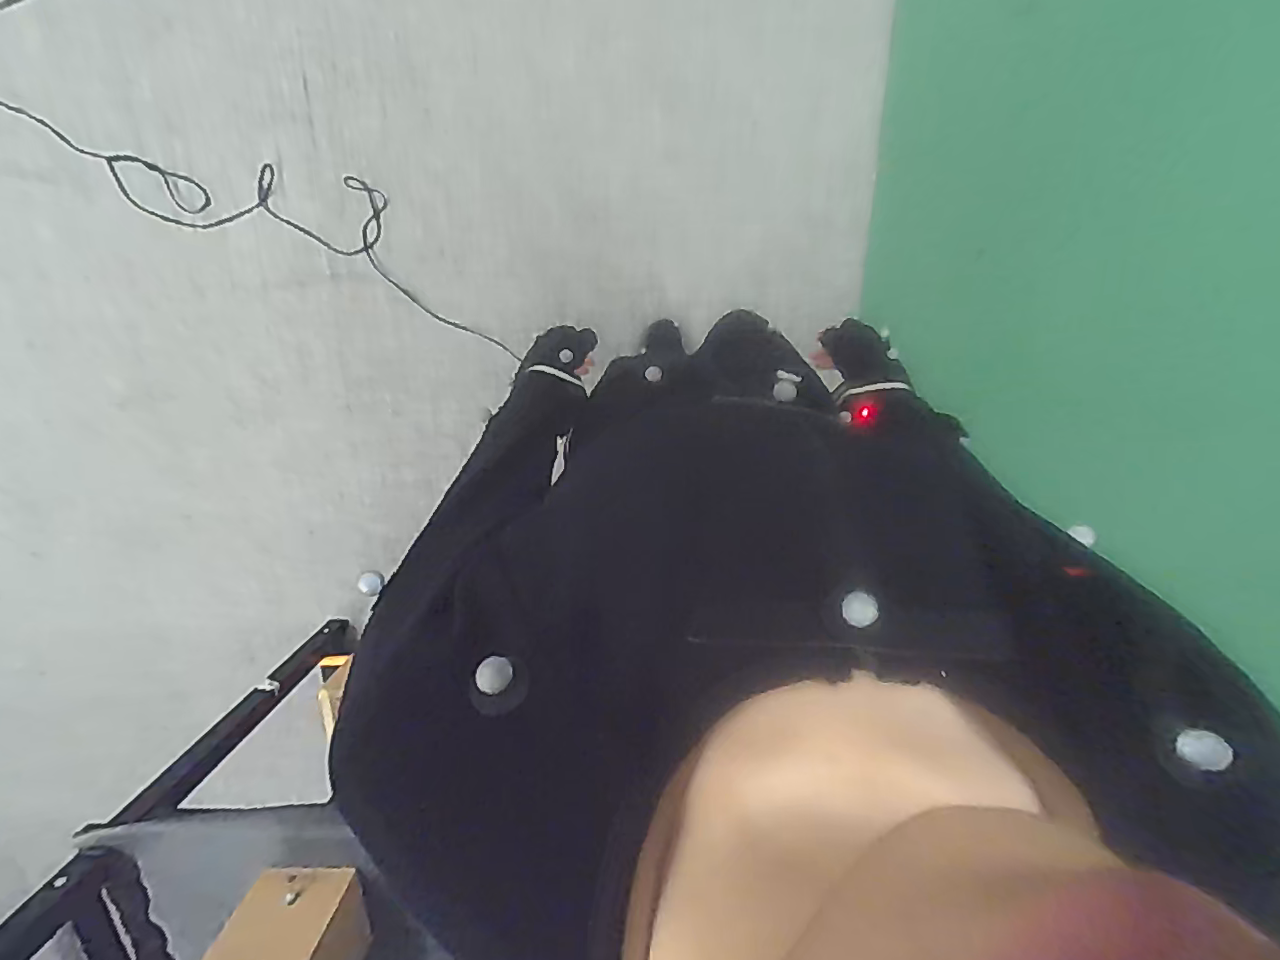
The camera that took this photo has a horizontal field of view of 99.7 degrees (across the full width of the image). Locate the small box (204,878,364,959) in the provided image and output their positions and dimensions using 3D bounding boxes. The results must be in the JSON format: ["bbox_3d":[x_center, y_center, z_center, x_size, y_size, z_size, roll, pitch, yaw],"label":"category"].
[{"bbox_3d":[-0.569,0.785,0.866,0.168,0.176,0.179,-1,106,0],"label":"small box"}]
